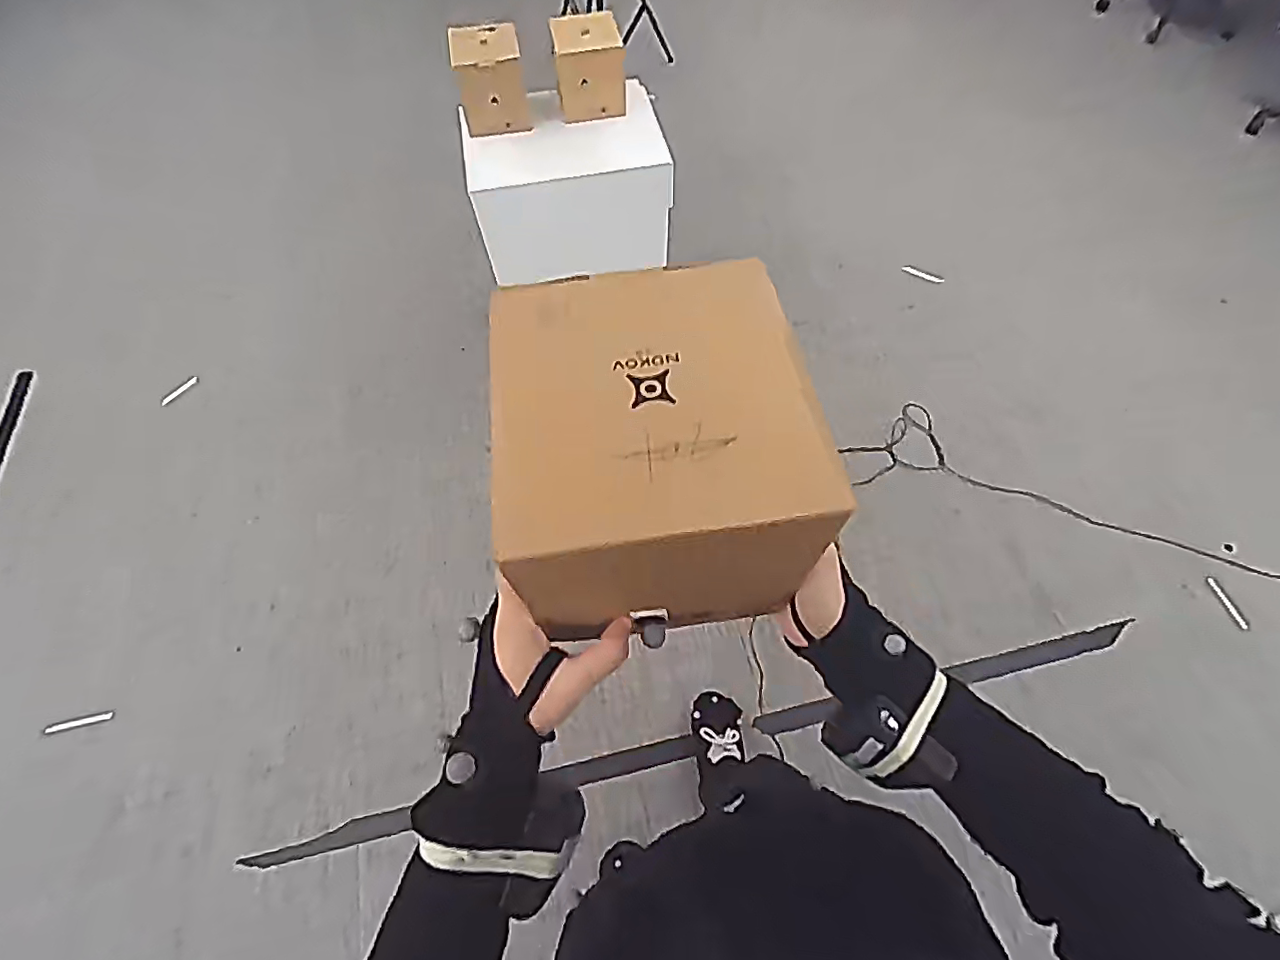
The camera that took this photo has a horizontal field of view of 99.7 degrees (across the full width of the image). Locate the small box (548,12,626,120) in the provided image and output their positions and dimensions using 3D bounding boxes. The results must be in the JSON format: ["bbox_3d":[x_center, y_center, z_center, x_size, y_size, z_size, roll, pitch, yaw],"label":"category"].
[{"bbox_3d":[-0.134,-1.069,1.409,0.168,0.176,0.179,-11,64,-4],"label":"small box"}]

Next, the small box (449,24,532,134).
[{"bbox_3d":[-0.379,-1.017,1.385,0.168,0.176,0.179,-11,65,-6],"label":"small box"}]

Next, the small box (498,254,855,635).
[{"bbox_3d":[0.008,-0.014,0.355,0.168,0.176,0.179,-9,61,-3],"label":"small box"}]
